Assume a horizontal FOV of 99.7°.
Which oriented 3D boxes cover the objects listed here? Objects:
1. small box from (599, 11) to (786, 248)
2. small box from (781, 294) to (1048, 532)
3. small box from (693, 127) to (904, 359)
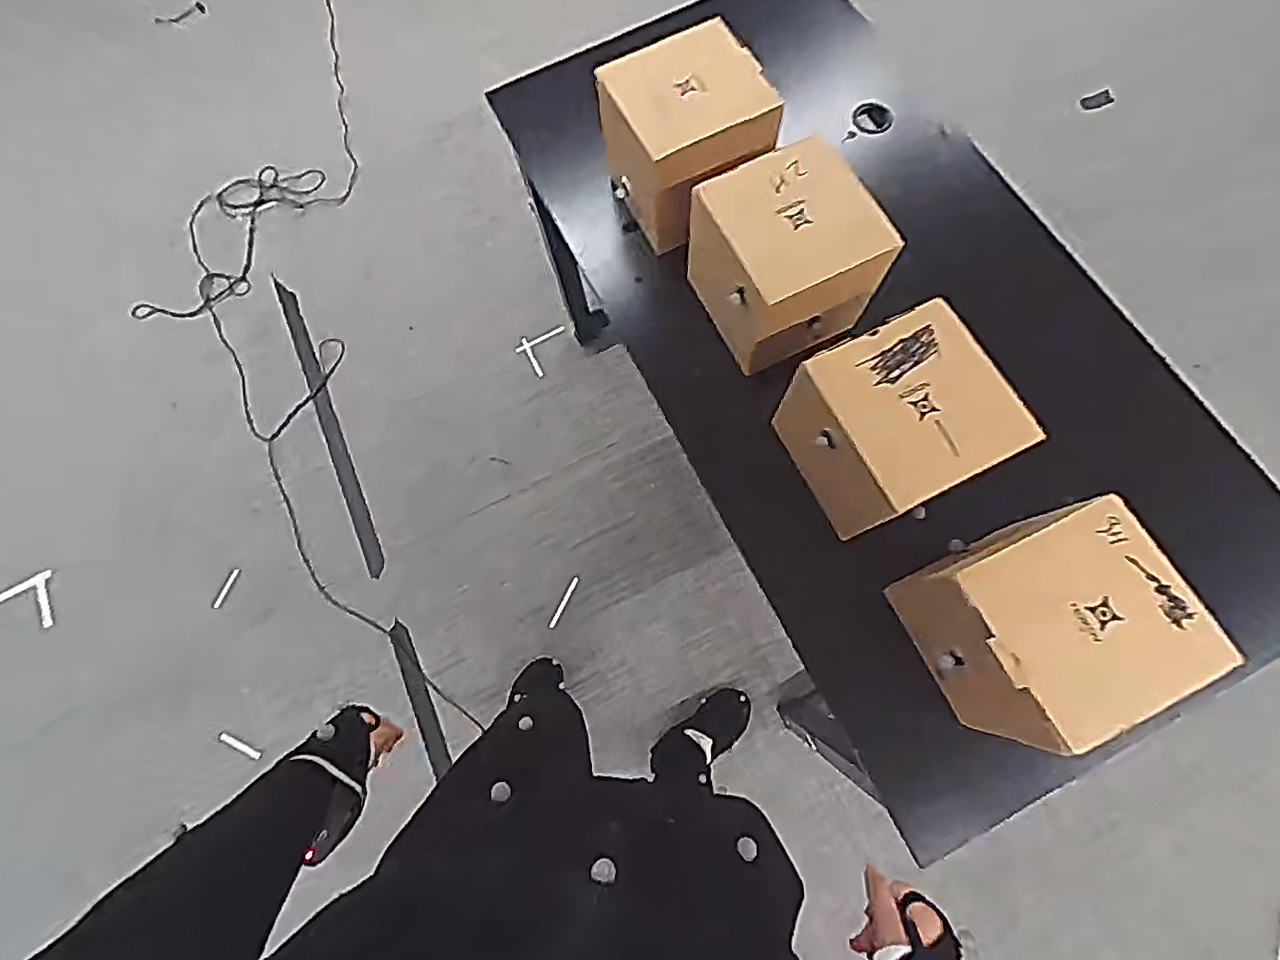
[{"bbox_3d":[0.064,-0.452,0.718,0.179,0.176,0.168,-27,74,-4],"label":"small box"},{"bbox_3d":[0.278,-0.062,0.599,0.168,0.176,0.179,-26,76,-4],"label":"small box"},{"bbox_3d":[0.175,-0.271,0.661,0.168,0.176,0.179,-26,75,-4],"label":"small box"}]
